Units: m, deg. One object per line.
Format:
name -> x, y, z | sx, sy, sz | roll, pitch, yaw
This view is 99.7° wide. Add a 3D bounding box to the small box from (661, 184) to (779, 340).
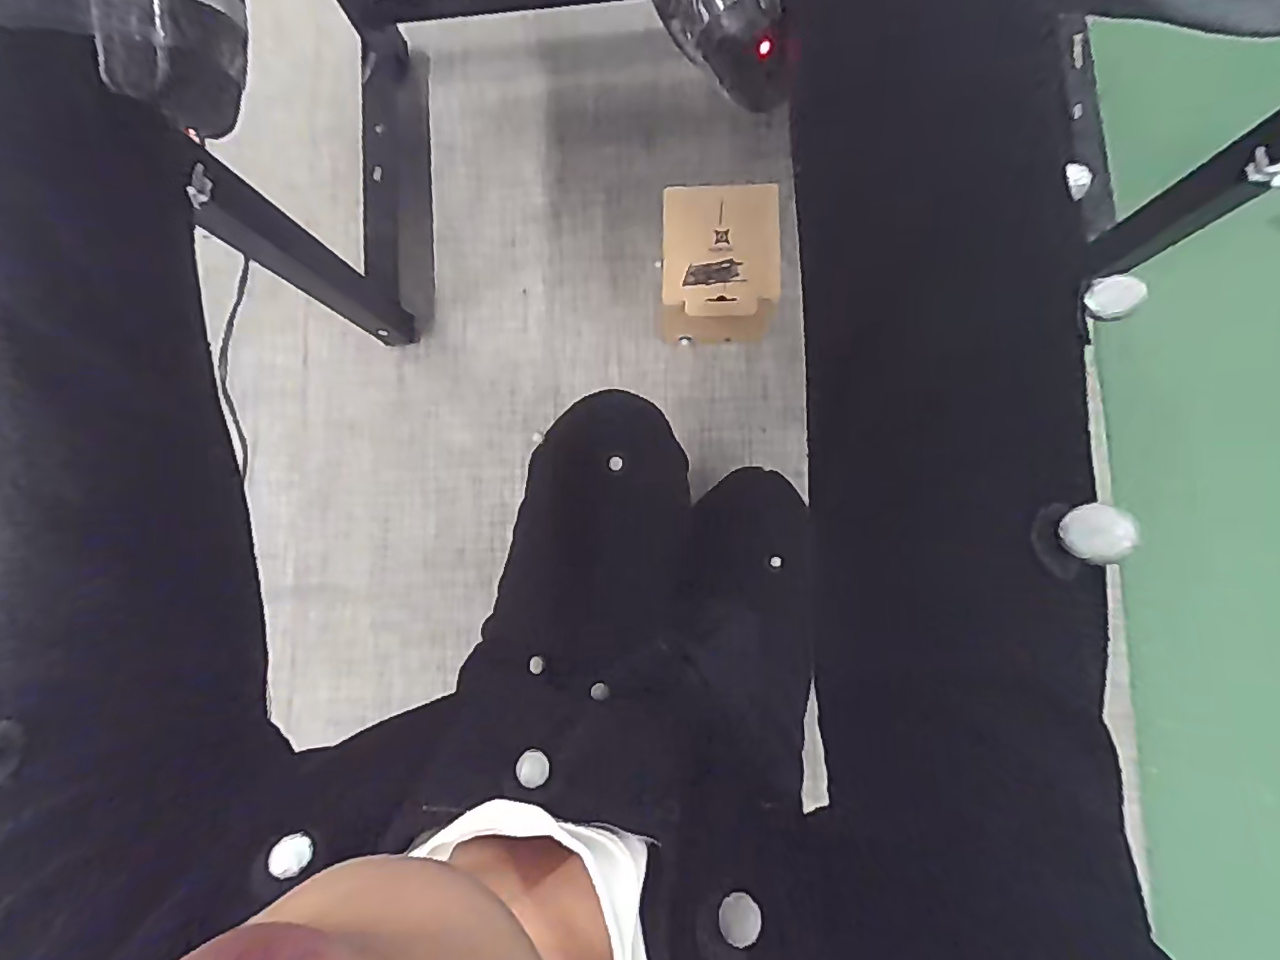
small box -> 0.121, -0.328, 0.847 | 0.168, 0.176, 0.179 | 1, 84, 5
